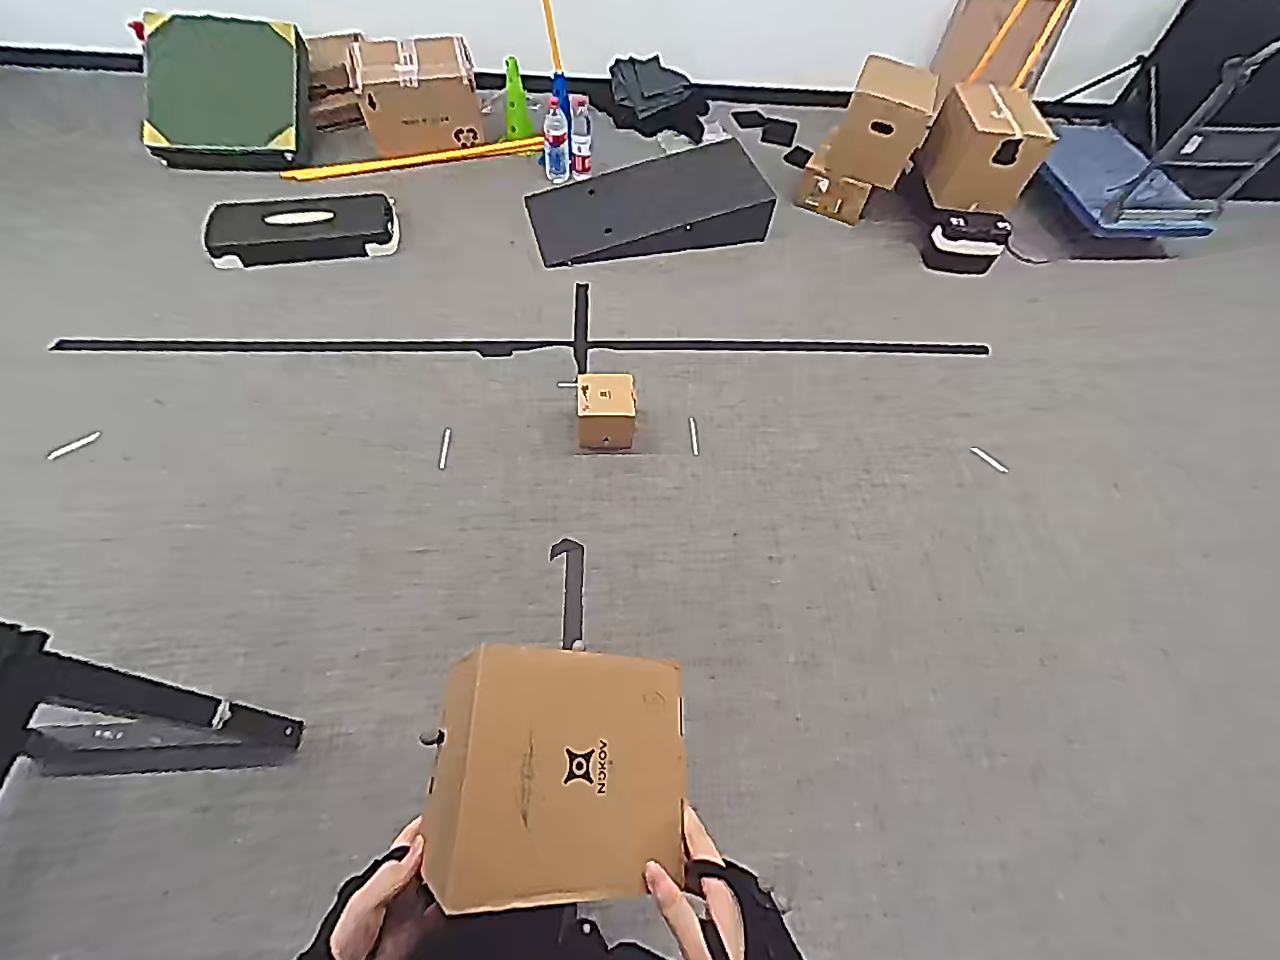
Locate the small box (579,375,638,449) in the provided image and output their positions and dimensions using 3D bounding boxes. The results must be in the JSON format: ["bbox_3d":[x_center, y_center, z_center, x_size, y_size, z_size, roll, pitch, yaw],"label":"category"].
[{"bbox_3d":[-0.102,-0.211,1.710,0.179,0.176,0.168,0,58,-6],"label":"small box"}]
